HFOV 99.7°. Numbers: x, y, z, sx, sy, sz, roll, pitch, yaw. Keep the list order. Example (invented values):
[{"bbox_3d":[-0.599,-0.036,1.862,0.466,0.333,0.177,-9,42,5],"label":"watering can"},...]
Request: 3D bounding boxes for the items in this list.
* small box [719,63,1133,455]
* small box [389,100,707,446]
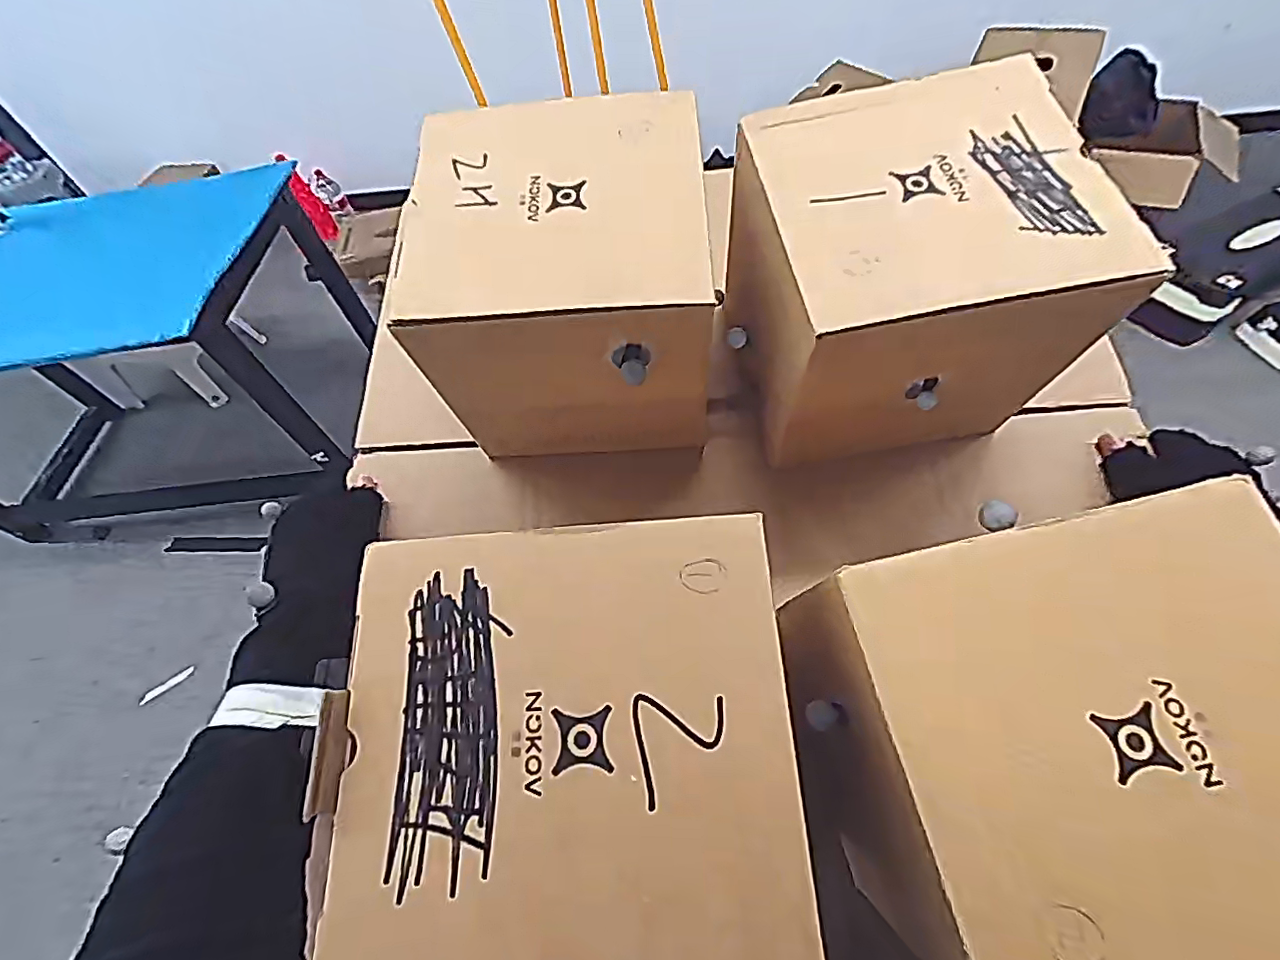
[{"bbox_3d":[0.158,-0.134,0.375,0.179,0.176,0.168,-11,67,2],"label":"small box"},{"bbox_3d":[-0.046,-0.134,0.394,0.179,0.176,0.168,-2,67,4],"label":"small box"}]
